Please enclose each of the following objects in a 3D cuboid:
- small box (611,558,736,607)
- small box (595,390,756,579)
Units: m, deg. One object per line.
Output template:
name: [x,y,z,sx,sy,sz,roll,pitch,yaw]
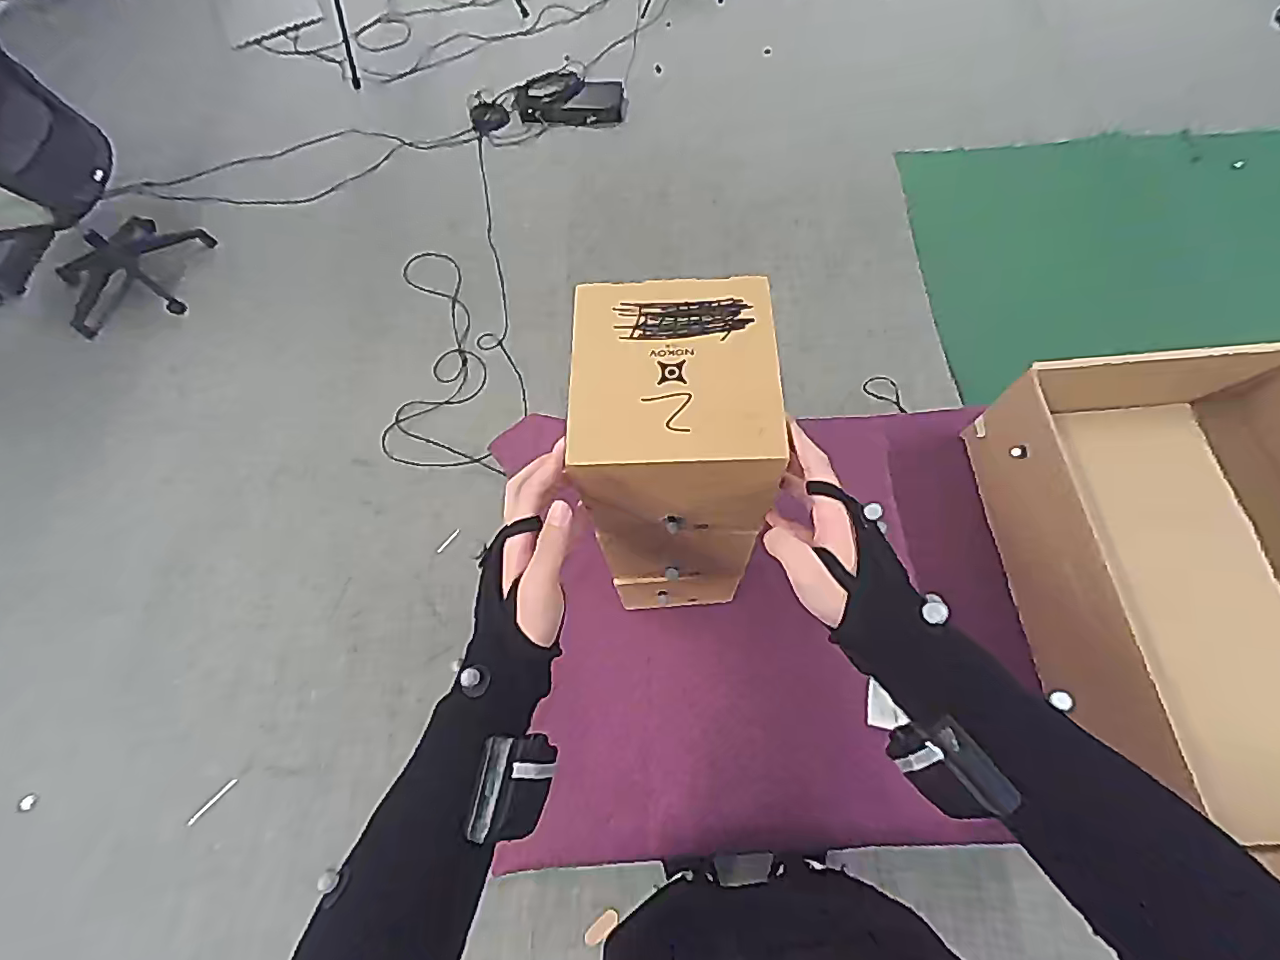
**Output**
small box: [0.048,0.084,0.797,0.168,0.176,0.179,-5,64,2]
small box: [0.043,0.010,0.650,0.168,0.176,0.179,-1,65,5]
